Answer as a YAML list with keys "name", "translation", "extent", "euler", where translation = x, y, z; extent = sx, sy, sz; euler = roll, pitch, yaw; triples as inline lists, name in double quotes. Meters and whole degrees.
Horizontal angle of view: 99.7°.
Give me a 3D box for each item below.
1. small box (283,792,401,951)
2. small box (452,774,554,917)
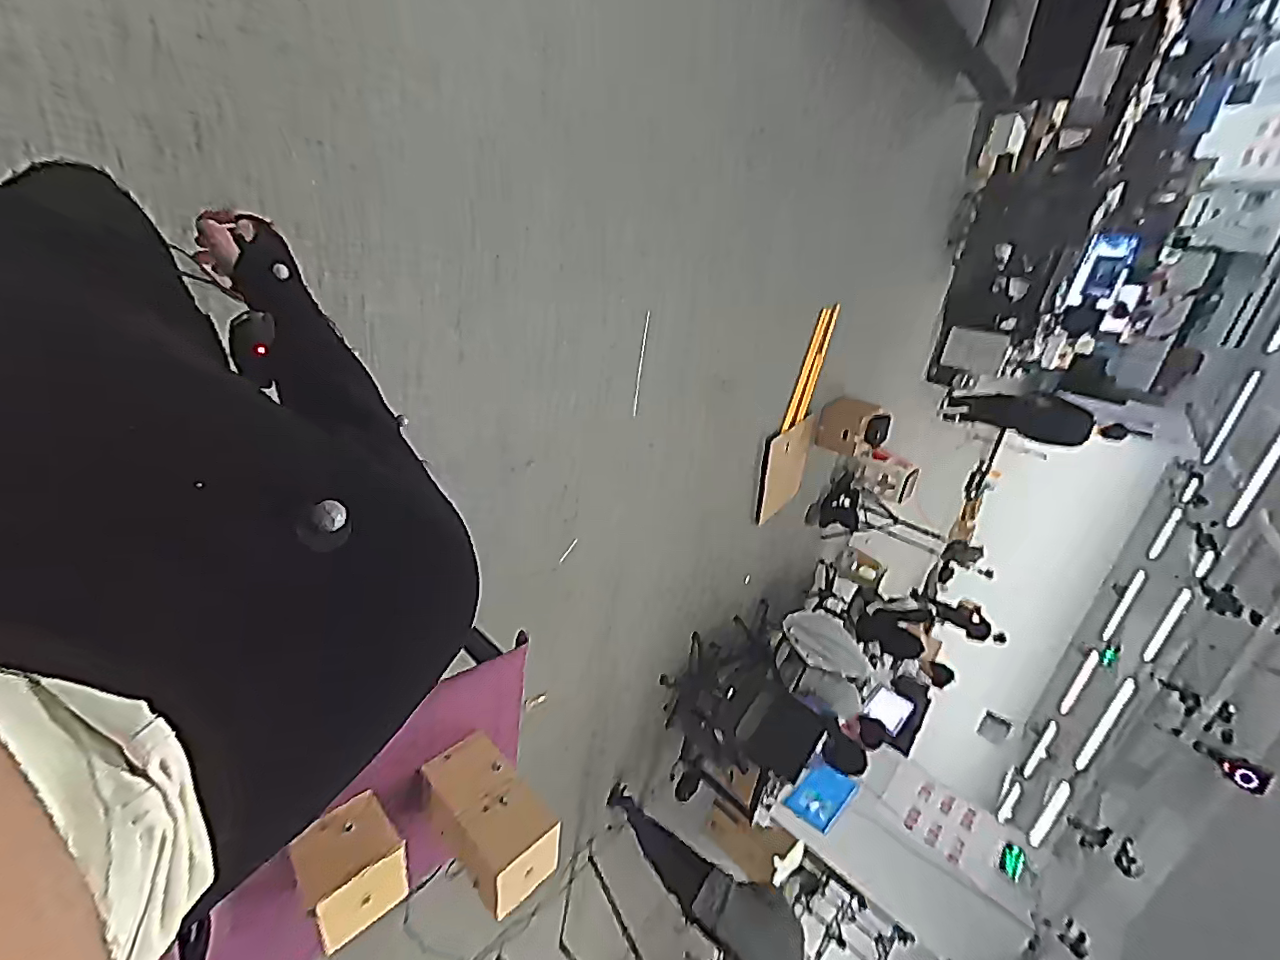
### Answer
- name: "small box"
  translation: [-0.624, 0.809, 1.136]
  extent: [0.168, 0.176, 0.179]
  euler: [-18, 124, -44]
- name: "small box"
  translation: [-0.318, 0.829, 1.244]
  extent: [0.168, 0.176, 0.179]
  euler: [-19, 126, -44]
